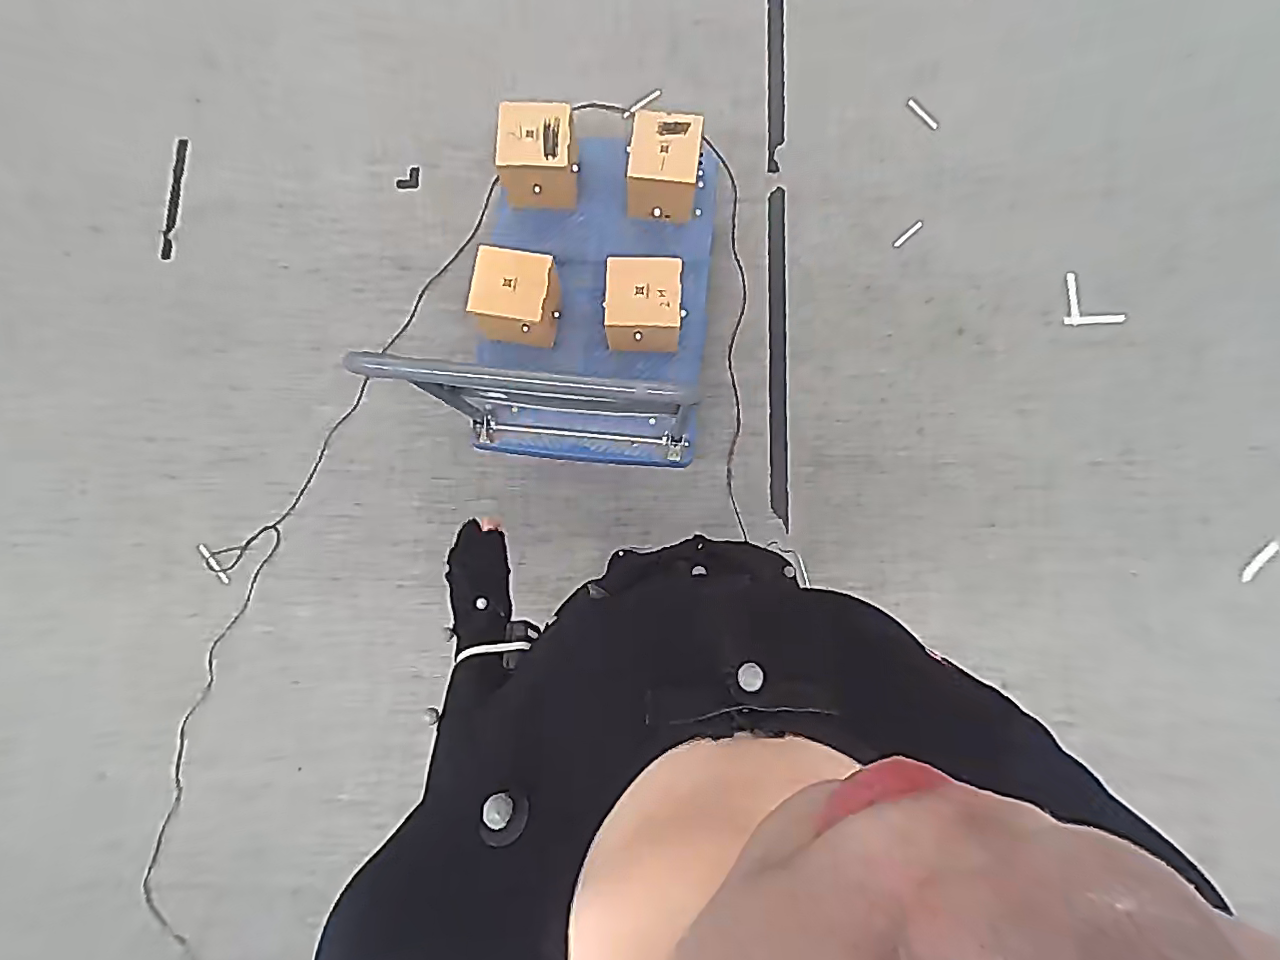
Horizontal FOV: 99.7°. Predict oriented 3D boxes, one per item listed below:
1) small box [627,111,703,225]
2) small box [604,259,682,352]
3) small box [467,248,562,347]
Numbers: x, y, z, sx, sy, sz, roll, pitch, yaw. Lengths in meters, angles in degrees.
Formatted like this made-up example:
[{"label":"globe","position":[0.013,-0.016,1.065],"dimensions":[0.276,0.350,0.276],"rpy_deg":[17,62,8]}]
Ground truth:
[{"label":"small box","position":[0.059,-0.778,1.360],"dimensions":[0.168,0.176,0.179],"rpy_deg":[7,85,2]},{"label":"small box","position":[0.009,-0.418,1.318],"dimensions":[0.179,0.176,0.168],"rpy_deg":[2,83,1]},{"label":"small box","position":[-0.300,-0.439,1.326],"dimensions":[0.179,0.176,0.168],"rpy_deg":[8,83,0]}]
